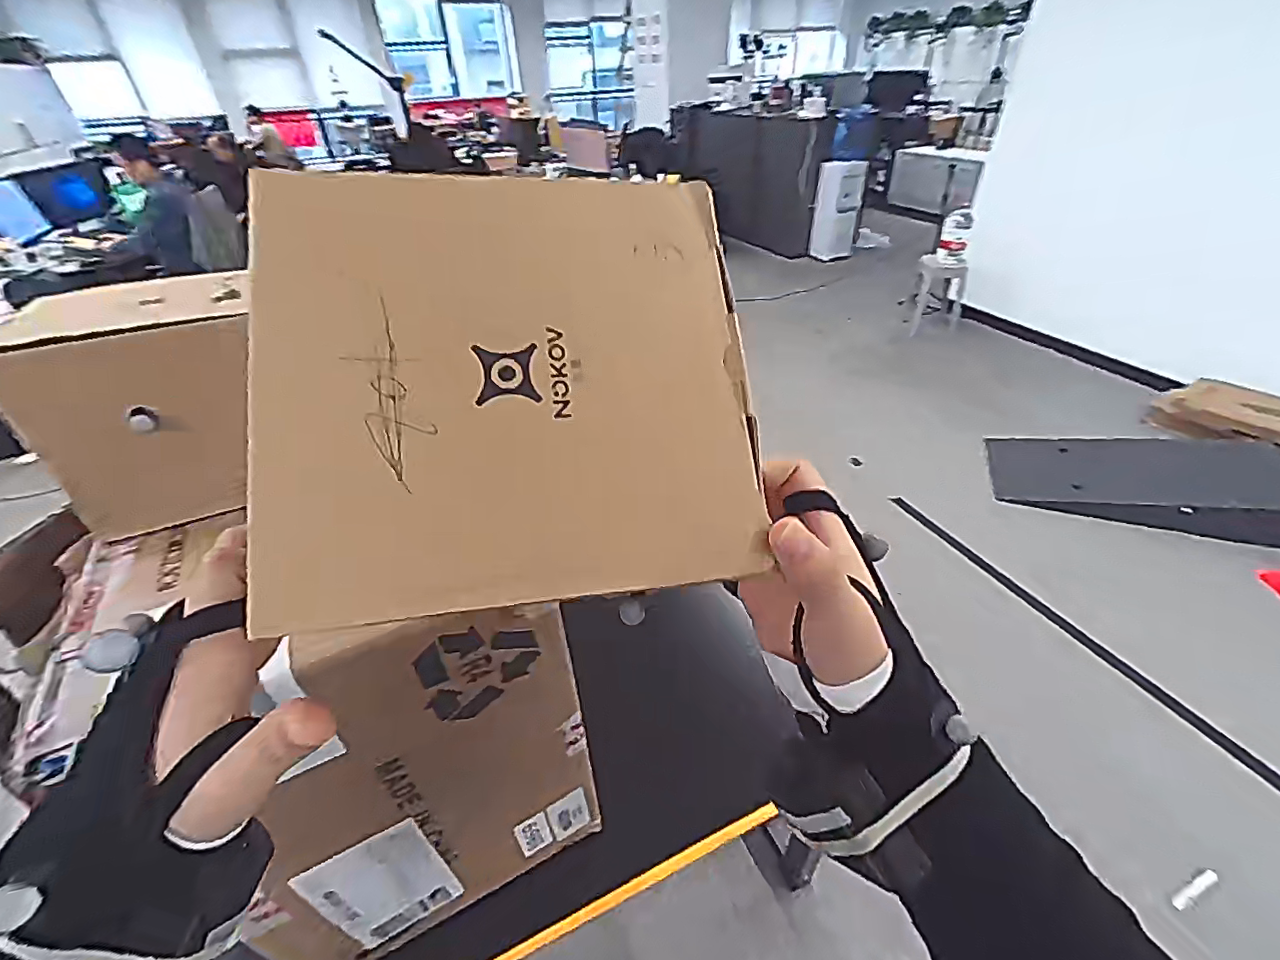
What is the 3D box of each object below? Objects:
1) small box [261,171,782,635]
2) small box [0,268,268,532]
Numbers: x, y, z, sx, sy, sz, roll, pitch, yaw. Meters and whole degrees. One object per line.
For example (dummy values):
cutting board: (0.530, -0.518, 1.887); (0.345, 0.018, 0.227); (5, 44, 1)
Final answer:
small box: (-0.054, -0.021, 0.274); (0.179, 0.176, 0.168); (-5, 78, -11)
small box: (-0.411, -0.078, 0.493); (0.179, 0.176, 0.168); (-19, 38, -22)
